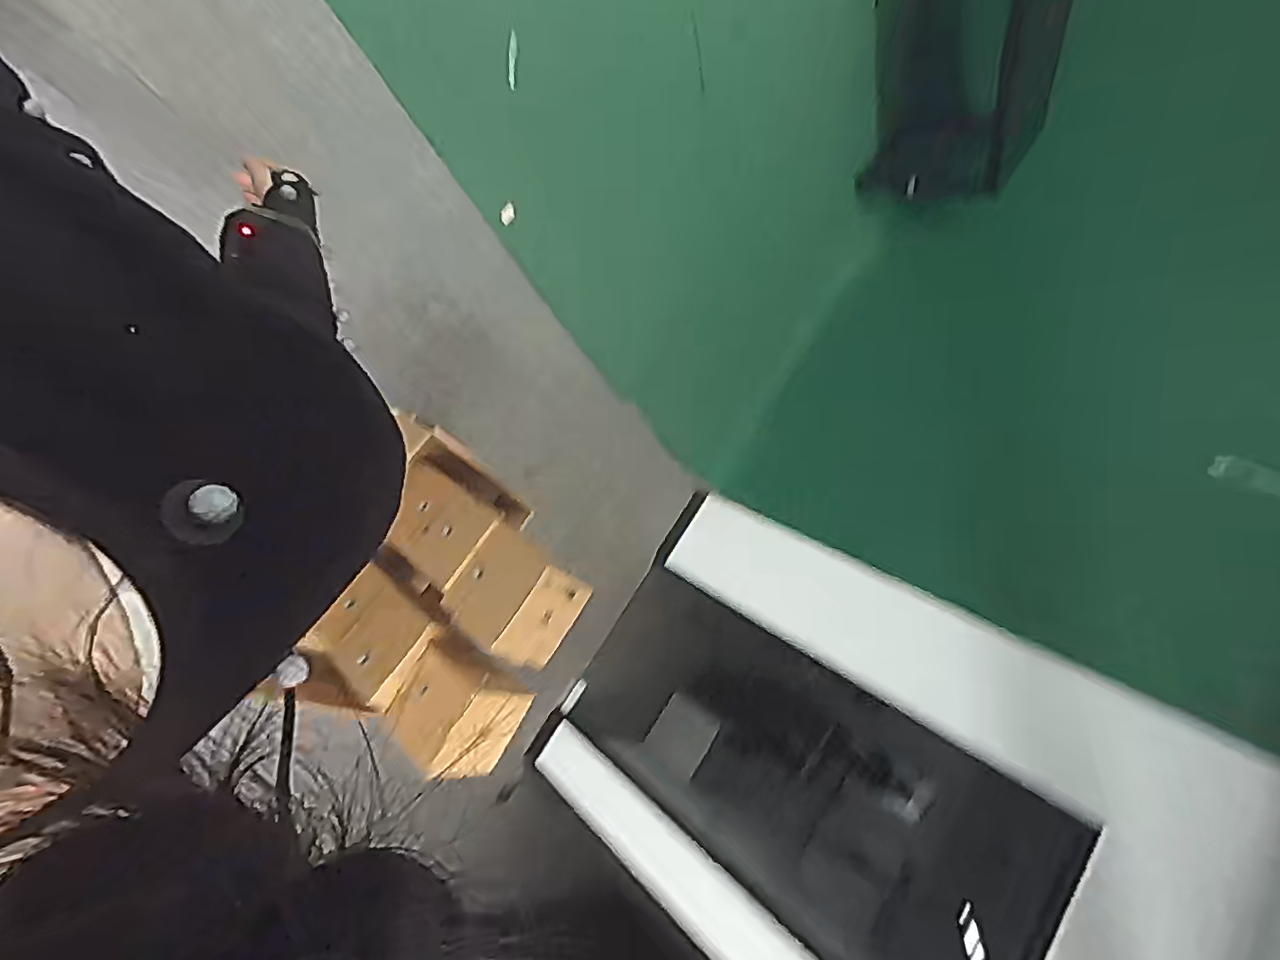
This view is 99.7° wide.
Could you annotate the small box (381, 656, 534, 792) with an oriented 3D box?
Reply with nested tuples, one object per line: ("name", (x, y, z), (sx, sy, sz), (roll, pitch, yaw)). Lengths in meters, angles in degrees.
("small box", (-0.345, 0.457, 1.028), (0.168, 0.176, 0.179), (-59, 144, -8))

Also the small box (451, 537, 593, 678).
("small box", (-0.231, 0.241, 1.028), (0.179, 0.176, 0.168), (-55, 143, -11))
